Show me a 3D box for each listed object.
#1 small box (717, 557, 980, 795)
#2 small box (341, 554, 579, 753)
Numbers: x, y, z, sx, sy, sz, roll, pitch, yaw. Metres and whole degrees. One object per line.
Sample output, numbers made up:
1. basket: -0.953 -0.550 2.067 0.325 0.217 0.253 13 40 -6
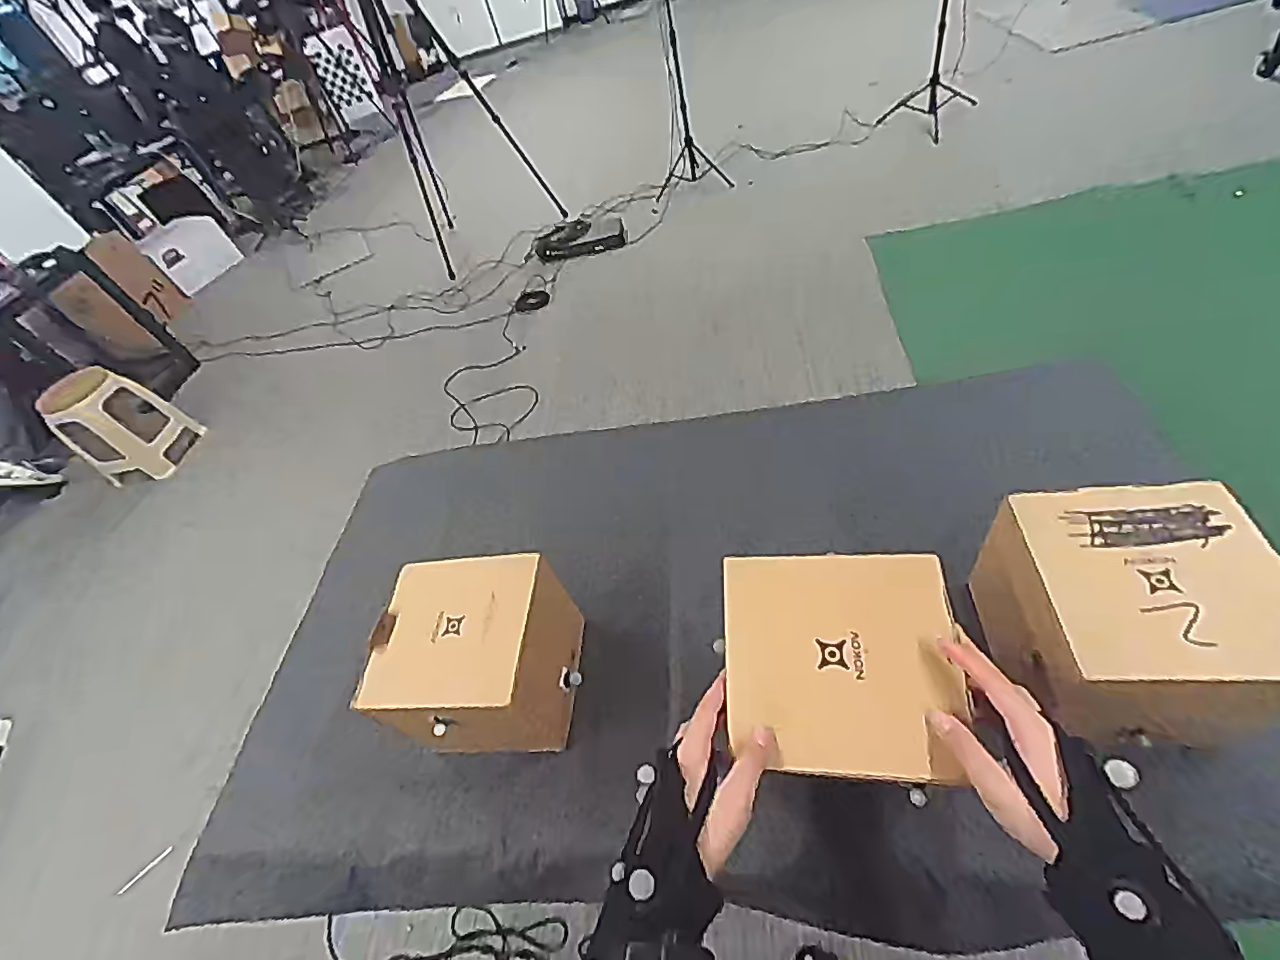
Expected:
1. small box: 0.162 0.178 0.480 0.179 0.176 0.168 -2 59 11
2. small box: -0.185 0.203 0.616 0.179 0.176 0.168 -6 50 11
